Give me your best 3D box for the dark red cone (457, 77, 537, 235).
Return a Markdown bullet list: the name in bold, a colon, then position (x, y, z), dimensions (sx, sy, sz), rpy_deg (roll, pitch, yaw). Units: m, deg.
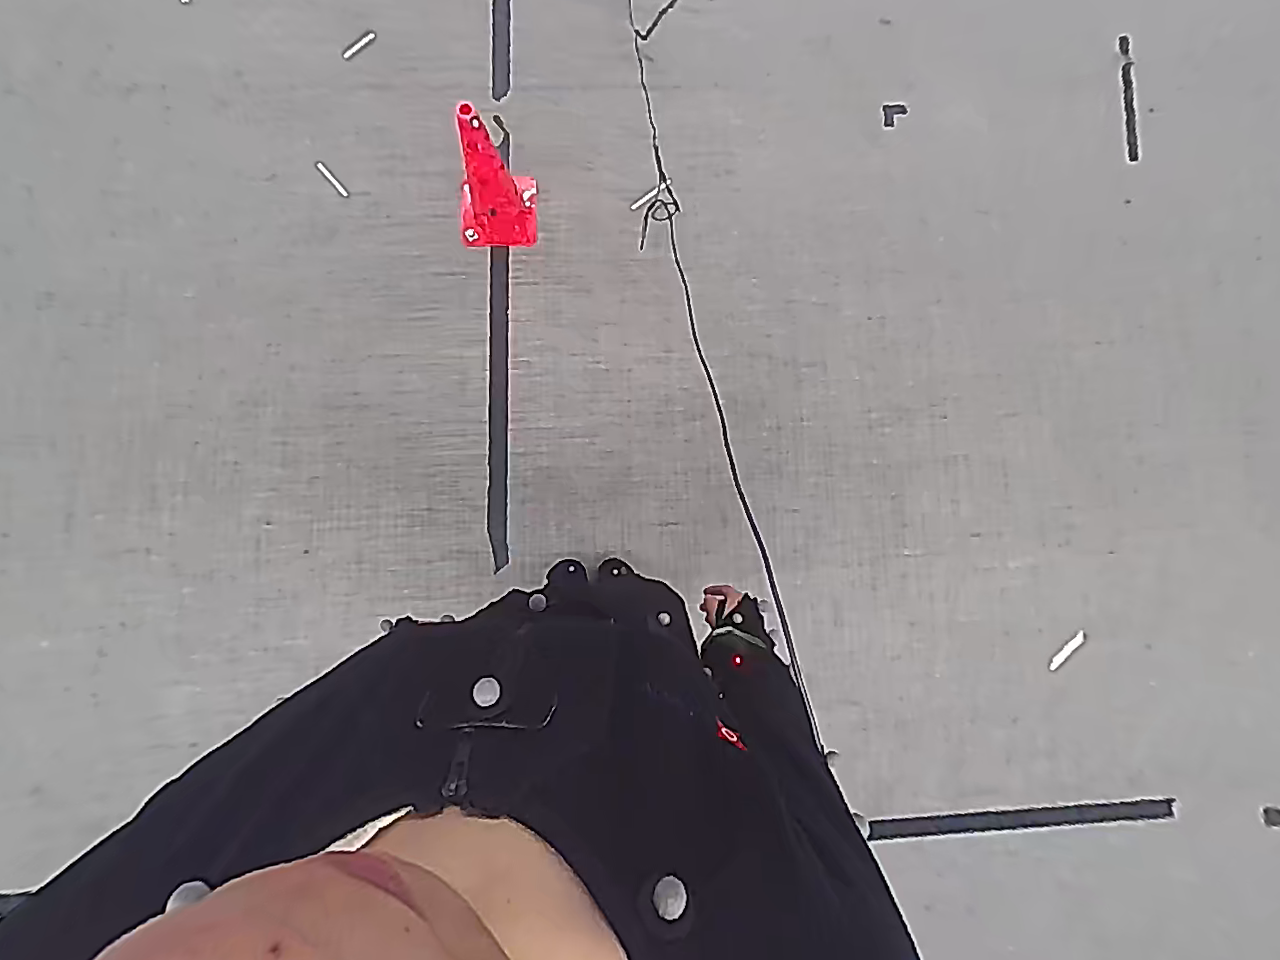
- **dark red cone**: position (-0.362, -0.760, 1.266), dimensions (0.201, 0.394, 0.202), rpy_deg (-2, 84, -5)
